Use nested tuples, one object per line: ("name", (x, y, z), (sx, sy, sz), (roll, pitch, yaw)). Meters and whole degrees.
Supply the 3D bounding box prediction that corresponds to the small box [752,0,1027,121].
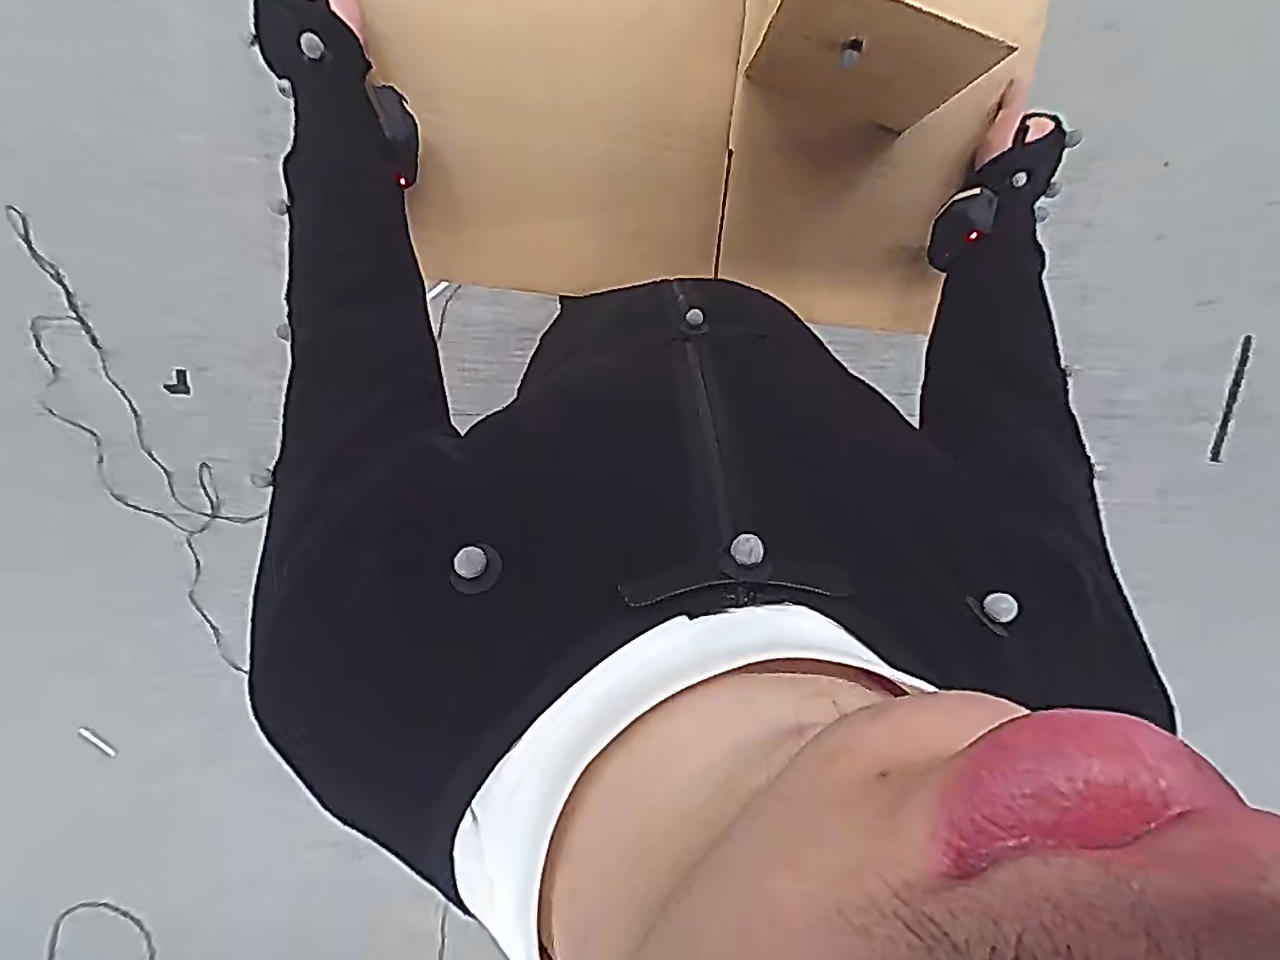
("small box", (0.211, -0.437, 0.451), (0.179, 0.176, 0.168), (15, 104, -5))
